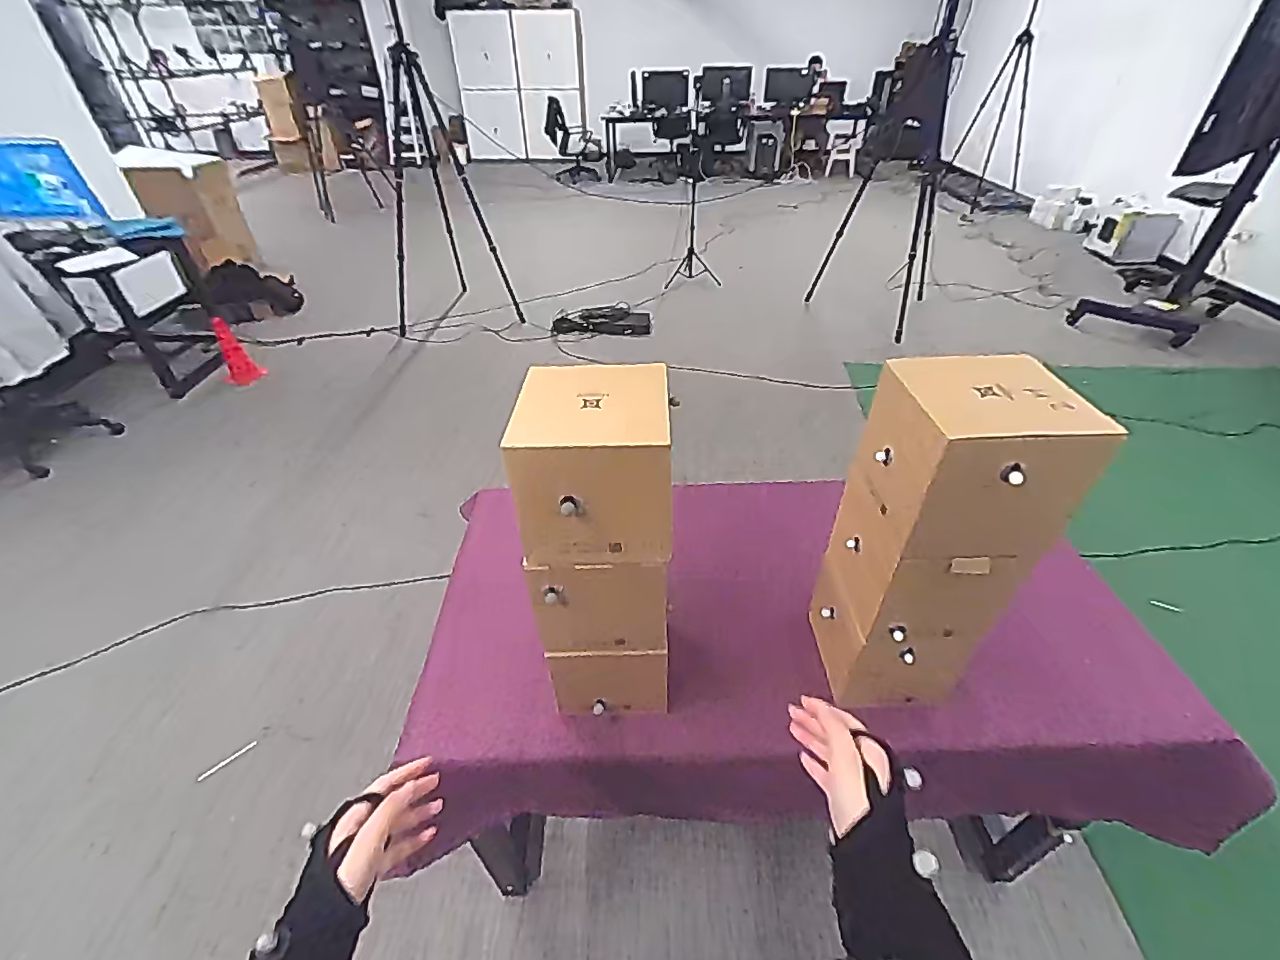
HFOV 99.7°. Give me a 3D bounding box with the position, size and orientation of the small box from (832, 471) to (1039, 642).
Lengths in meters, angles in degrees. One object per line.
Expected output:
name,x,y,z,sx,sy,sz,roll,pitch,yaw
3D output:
small box,0.377,0.103,0.730,0.168,0.176,0.179,-2,38,0

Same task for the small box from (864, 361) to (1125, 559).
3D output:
small box,0.376,-0.022,0.622,0.179,0.176,0.168,-1,40,0

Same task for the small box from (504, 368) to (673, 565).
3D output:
small box,-0.046,-0.015,0.631,0.168,0.176,0.179,-1,37,2

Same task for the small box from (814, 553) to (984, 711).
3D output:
small box,0.379,0.231,0.833,0.168,0.176,0.179,-2,38,1

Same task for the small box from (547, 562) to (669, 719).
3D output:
small box,-0.041,0.243,0.833,0.168,0.176,0.179,-1,40,1
